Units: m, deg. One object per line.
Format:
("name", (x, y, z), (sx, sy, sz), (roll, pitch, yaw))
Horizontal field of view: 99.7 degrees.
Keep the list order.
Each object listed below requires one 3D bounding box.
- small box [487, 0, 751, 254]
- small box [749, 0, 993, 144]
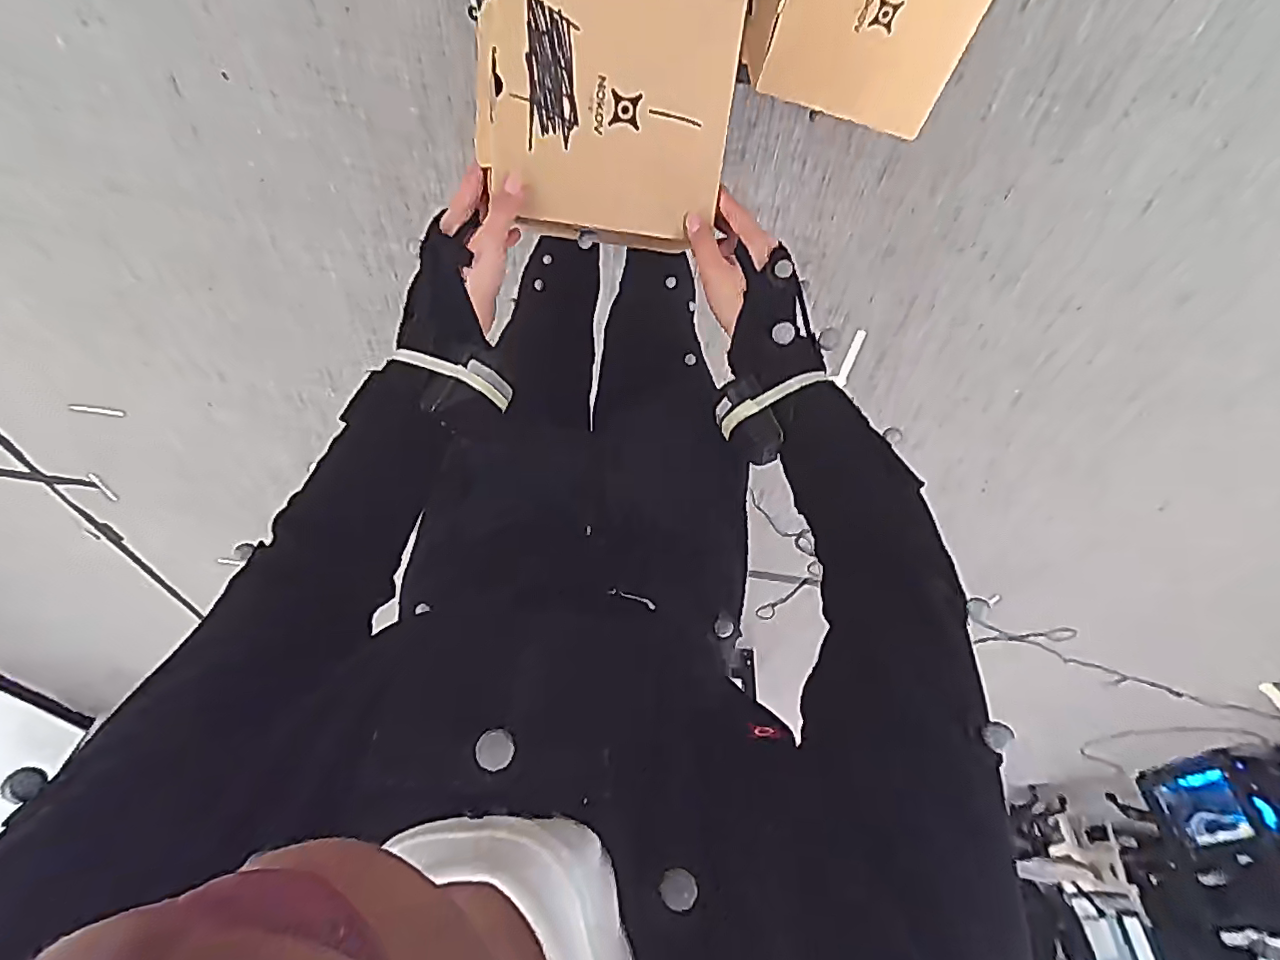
("small box", (-0.026, -0.294, 0.463), (0.179, 0.176, 0.168), (4, 110, -9))
("small box", (0.220, -0.470, 0.531), (0.179, 0.176, 0.168), (13, 138, -6))
